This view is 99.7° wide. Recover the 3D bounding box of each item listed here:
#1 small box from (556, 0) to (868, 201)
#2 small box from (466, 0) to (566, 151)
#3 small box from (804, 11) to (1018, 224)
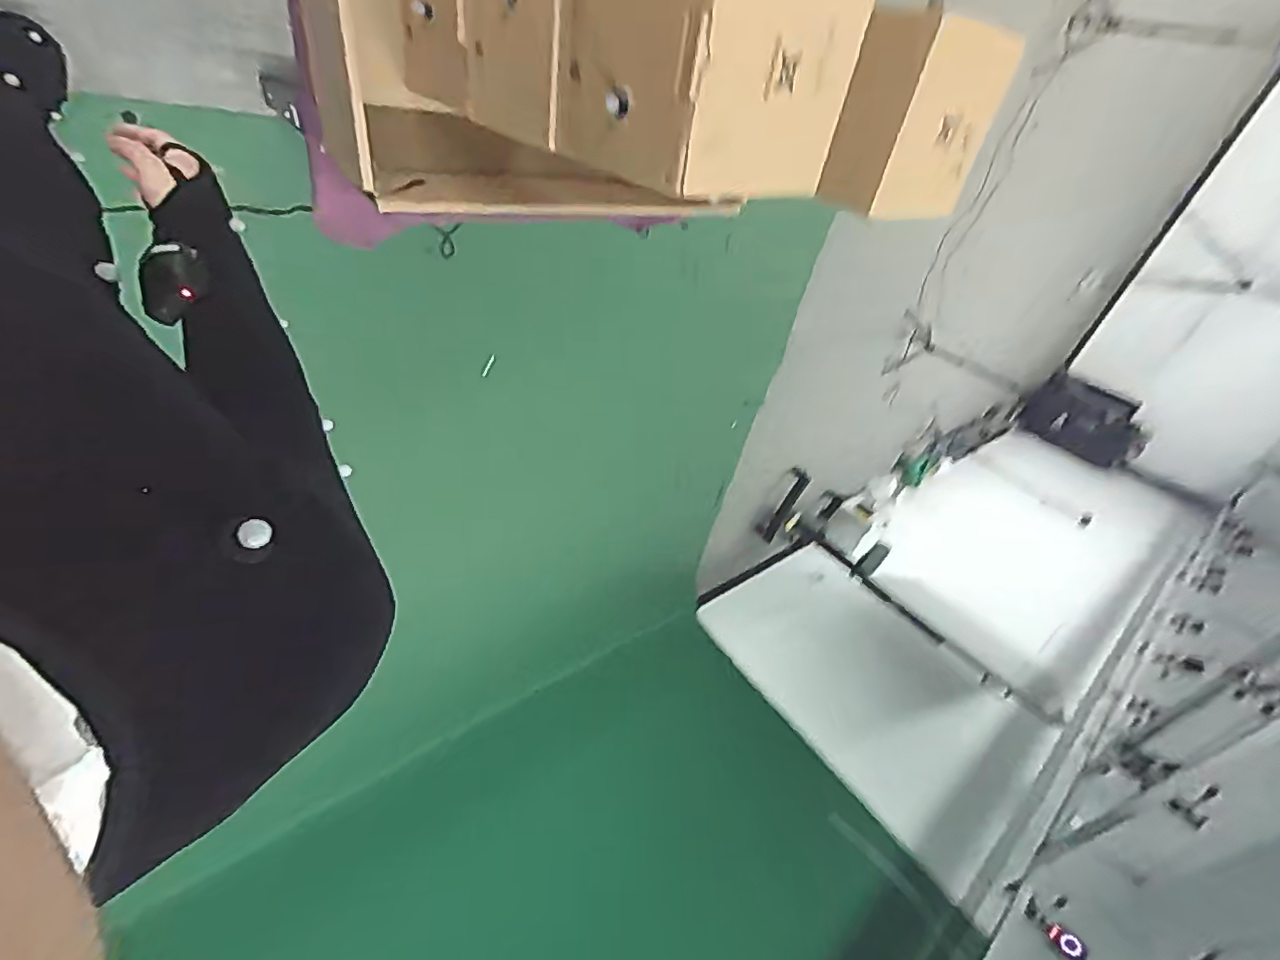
[{"bbox_3d":[0.048,-0.338,0.440,0.179,0.176,0.168,-23,140,-35],"label":"small box"},{"bbox_3d":[-0.058,-0.425,0.528,0.179,0.176,0.168,-21,138,-36],"label":"small box"},{"bbox_3d":[0.257,-0.395,0.598,0.179,0.176,0.168,-18,137,-34],"label":"small box"}]
